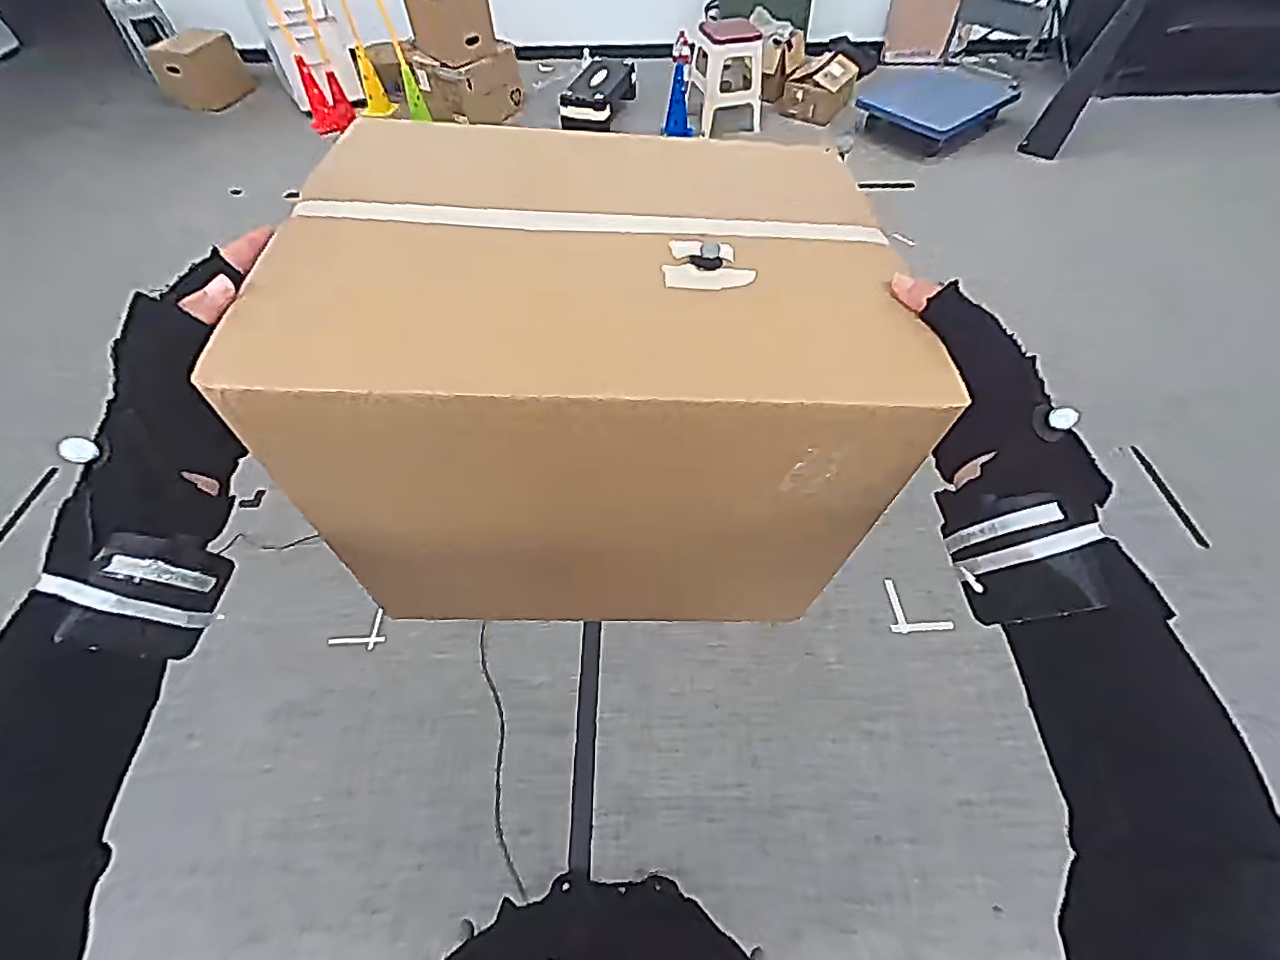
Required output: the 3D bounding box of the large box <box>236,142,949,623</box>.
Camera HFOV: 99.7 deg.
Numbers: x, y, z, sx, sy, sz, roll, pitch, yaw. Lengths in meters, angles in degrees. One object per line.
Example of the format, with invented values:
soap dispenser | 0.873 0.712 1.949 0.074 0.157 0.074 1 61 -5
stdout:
large box | -0.034 -0.071 0.503 0.408 0.320 0.320 2 54 -5
